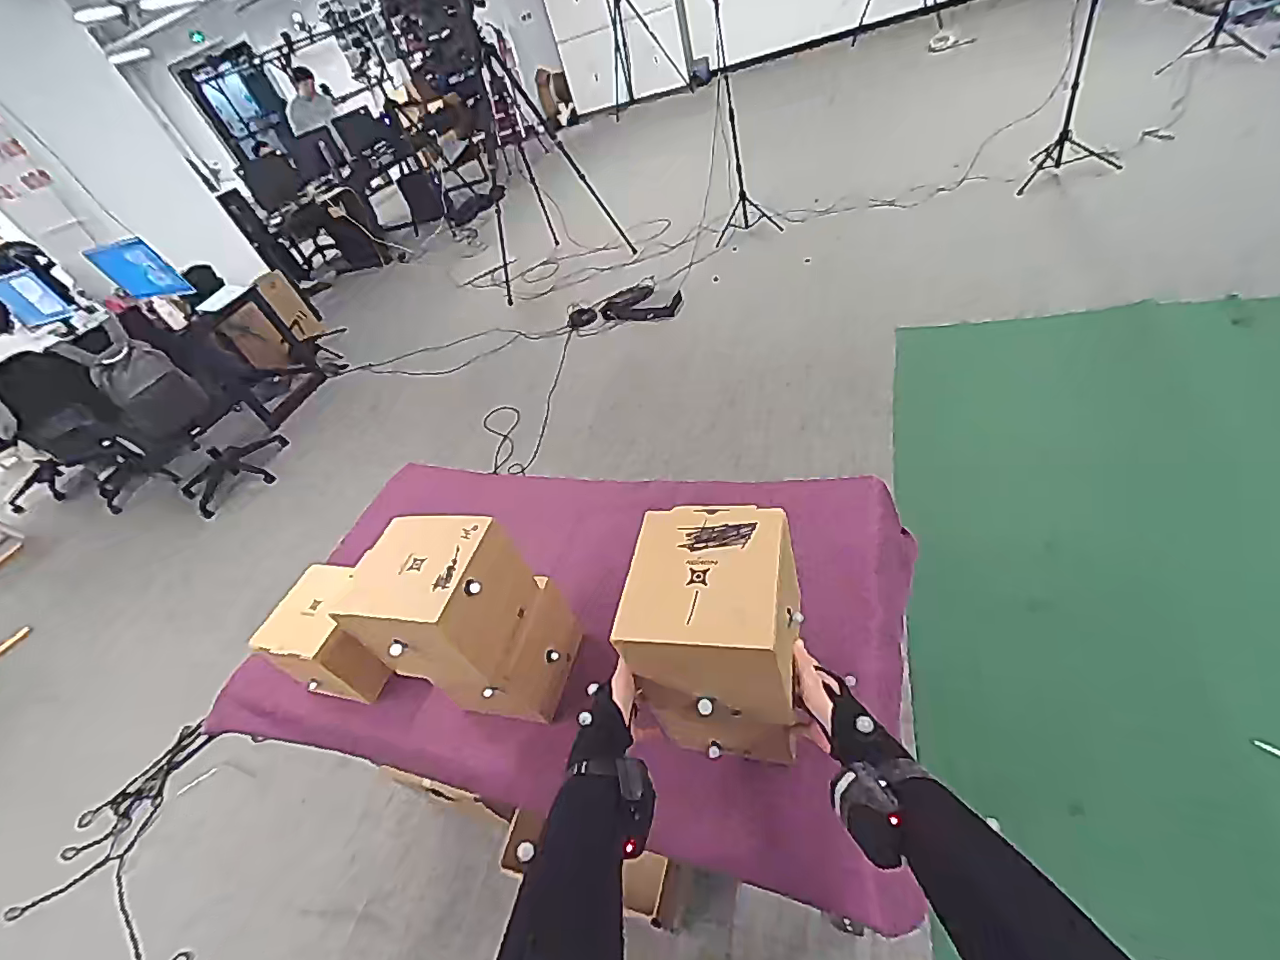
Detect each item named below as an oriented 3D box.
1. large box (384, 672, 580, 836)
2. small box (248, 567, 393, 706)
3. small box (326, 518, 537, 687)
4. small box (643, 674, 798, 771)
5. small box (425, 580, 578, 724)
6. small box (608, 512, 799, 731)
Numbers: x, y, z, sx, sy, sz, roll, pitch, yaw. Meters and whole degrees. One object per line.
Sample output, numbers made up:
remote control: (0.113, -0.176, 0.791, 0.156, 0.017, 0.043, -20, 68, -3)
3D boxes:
large box: (-0.405, 0.696, 1.503, 0.320, 0.320, 0.408, 0, 47, 22)
small box: (-0.550, 0.285, 0.996, 0.168, 0.176, 0.179, 1, 46, 22)
small box: (-0.275, 0.169, 0.752, 0.179, 0.176, 0.168, -2, 45, 21)
small box: (0.120, 0.264, 0.736, 0.168, 0.176, 0.179, -3, 44, 22)
small box: (-0.221, 0.272, 0.870, 0.179, 0.176, 0.168, -1, 44, 22)
small box: (0.086, 0.156, 0.616, 0.168, 0.176, 0.179, -4, 43, 22)
